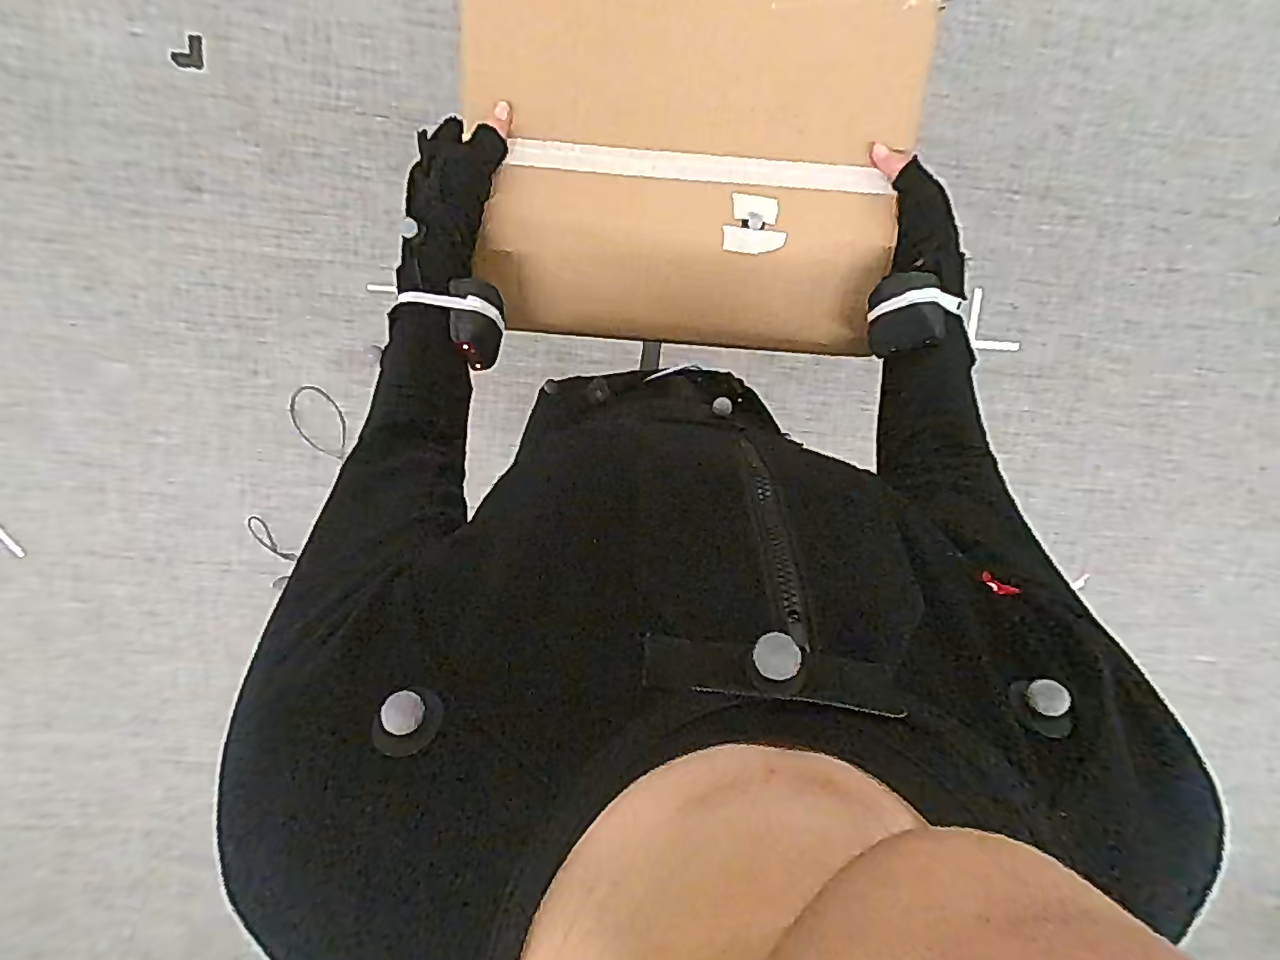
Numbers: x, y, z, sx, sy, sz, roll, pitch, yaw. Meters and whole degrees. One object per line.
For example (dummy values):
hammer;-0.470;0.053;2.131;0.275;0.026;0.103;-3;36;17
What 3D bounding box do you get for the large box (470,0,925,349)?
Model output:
large box;0.038;-0.335;0.649;0.408;0.320;0.320;4;108;-3
